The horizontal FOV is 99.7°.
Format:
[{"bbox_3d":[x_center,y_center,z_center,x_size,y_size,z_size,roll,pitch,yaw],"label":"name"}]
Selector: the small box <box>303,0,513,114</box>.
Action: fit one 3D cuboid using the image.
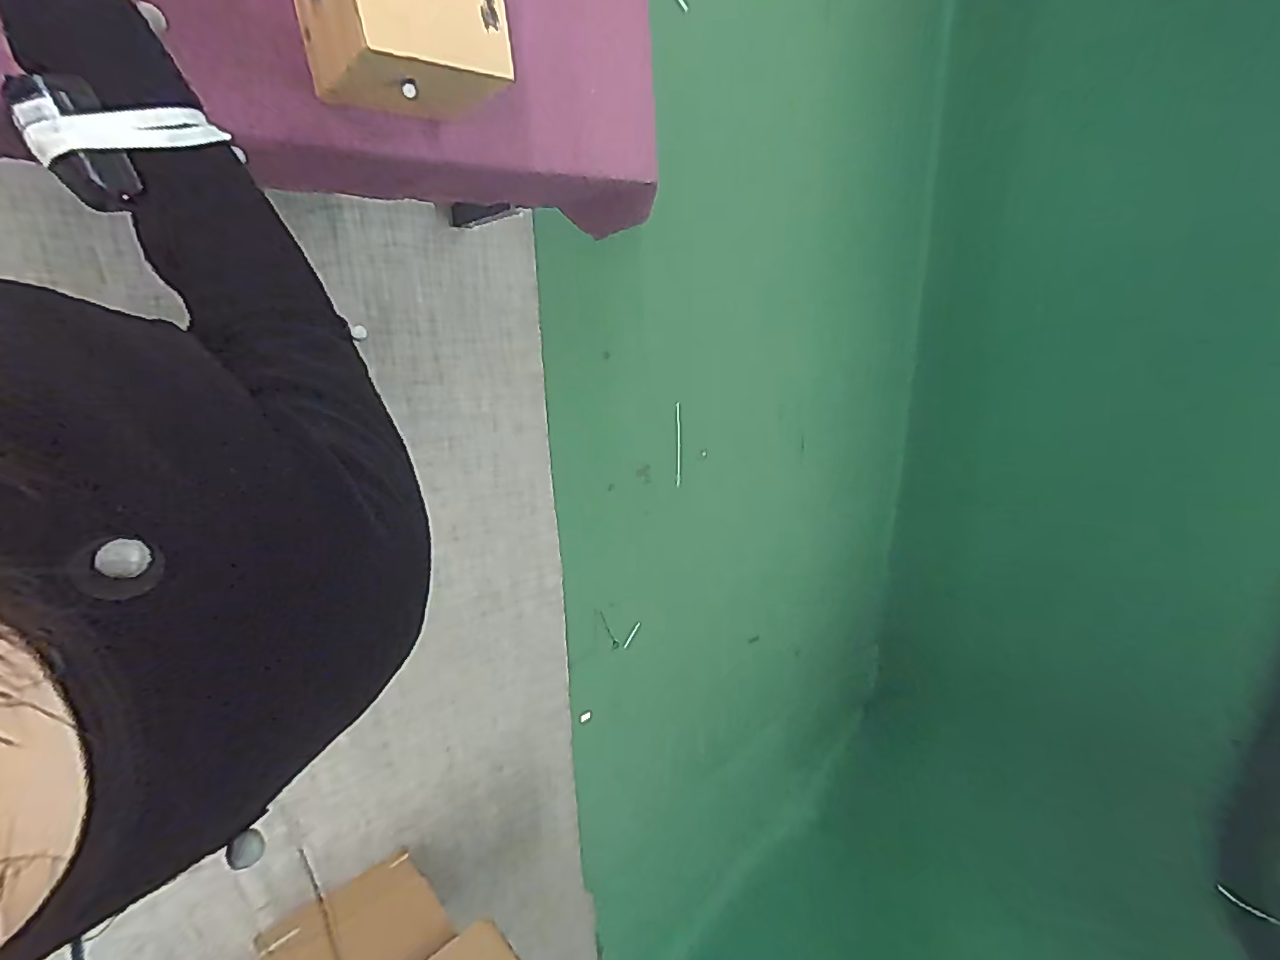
[{"bbox_3d":[-0.272,-0.541,0.614,0.179,0.176,0.168,-21,115,-39],"label":"small box"}]
